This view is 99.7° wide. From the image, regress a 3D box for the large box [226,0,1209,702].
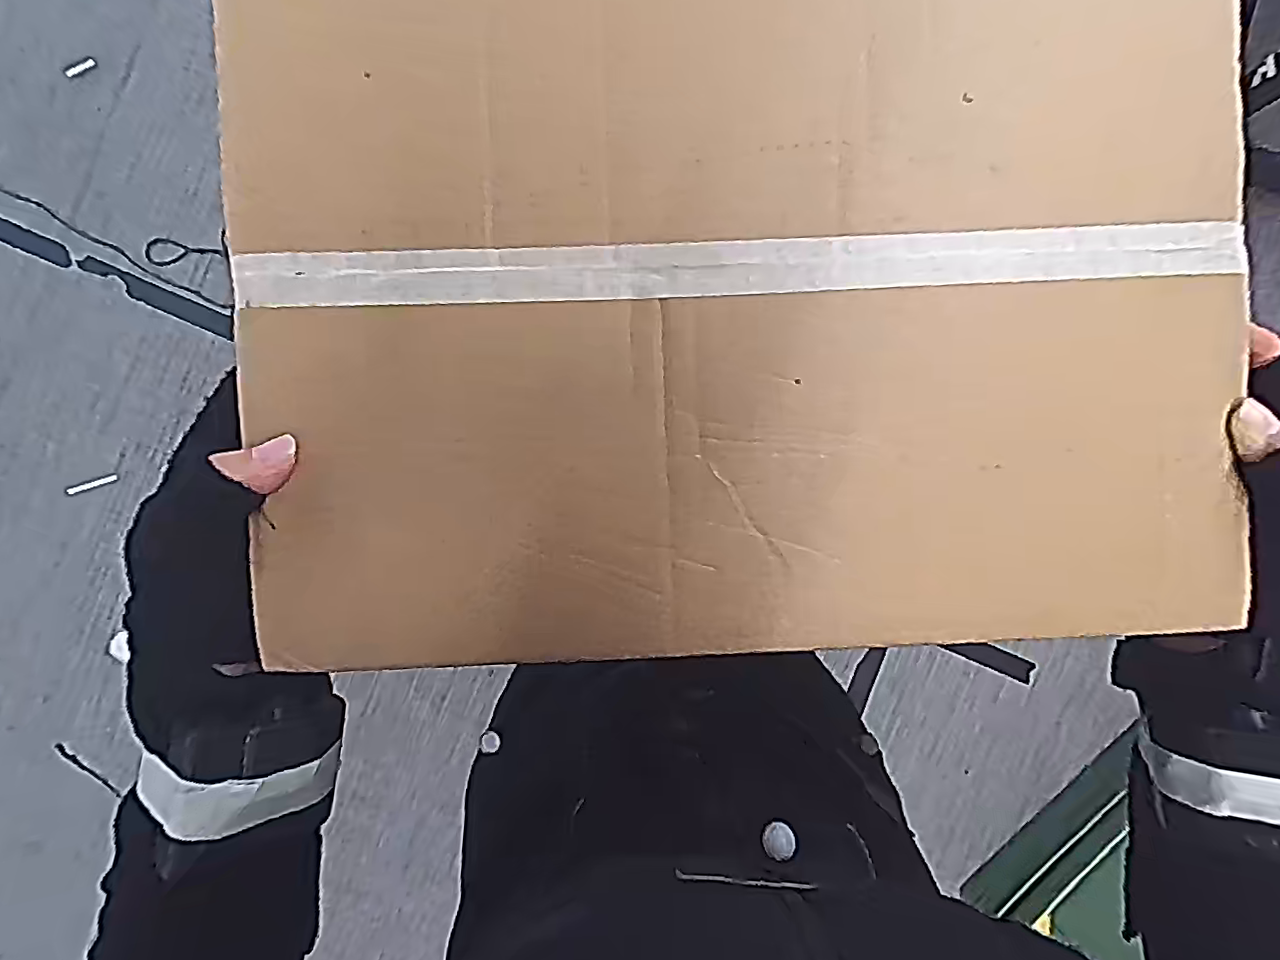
[{"bbox_3d":[0.037,-0.076,0.374,0.408,0.320,0.320,-3,91,-1],"label":"large box"}]
